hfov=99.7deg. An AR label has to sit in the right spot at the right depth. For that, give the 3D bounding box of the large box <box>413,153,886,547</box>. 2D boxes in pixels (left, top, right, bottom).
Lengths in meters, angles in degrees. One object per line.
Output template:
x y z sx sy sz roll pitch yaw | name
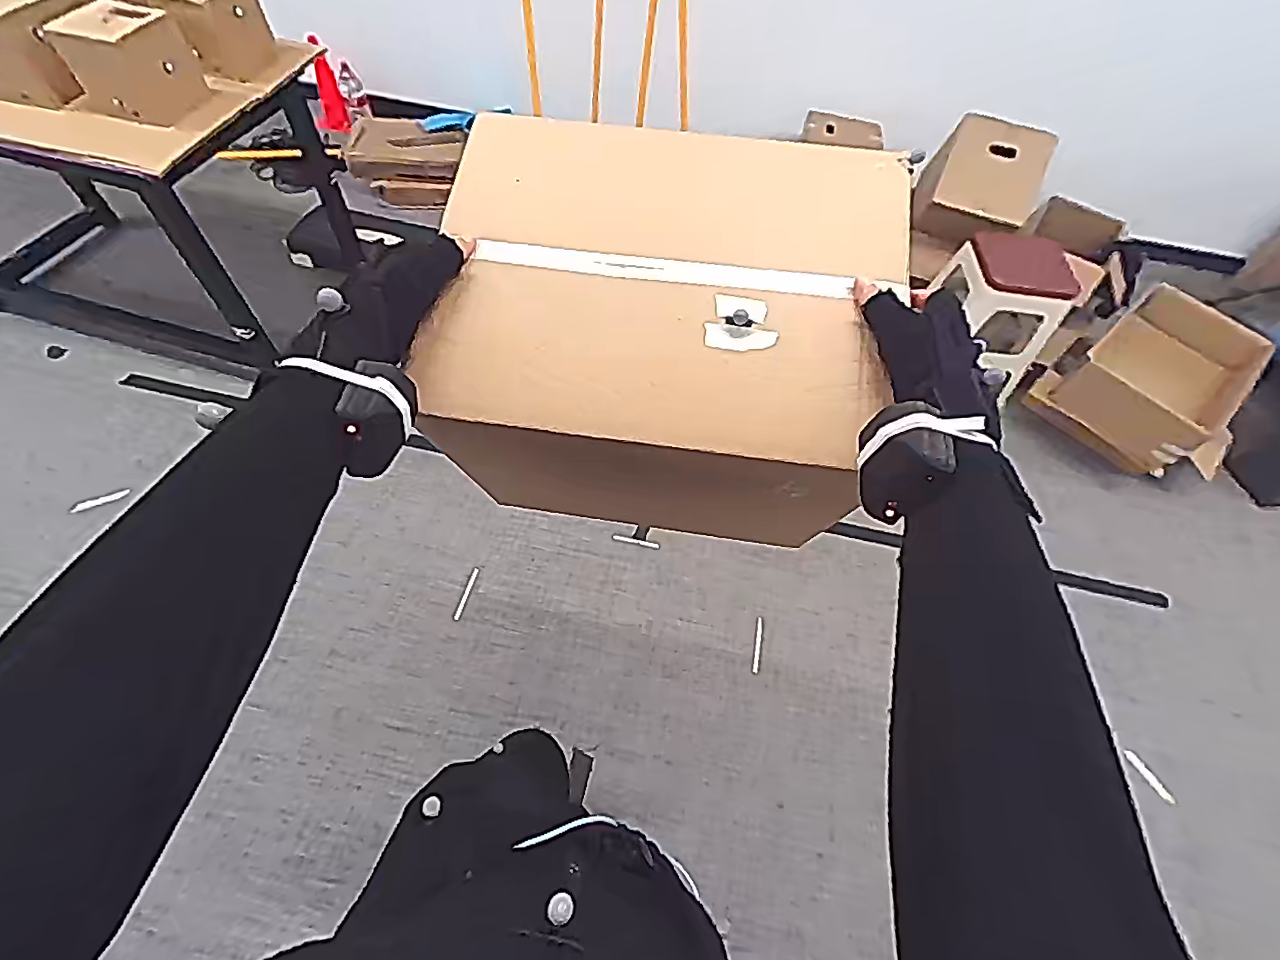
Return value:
0.020 -0.118 0.632 0.408 0.320 0.320 8 74 2 | large box
